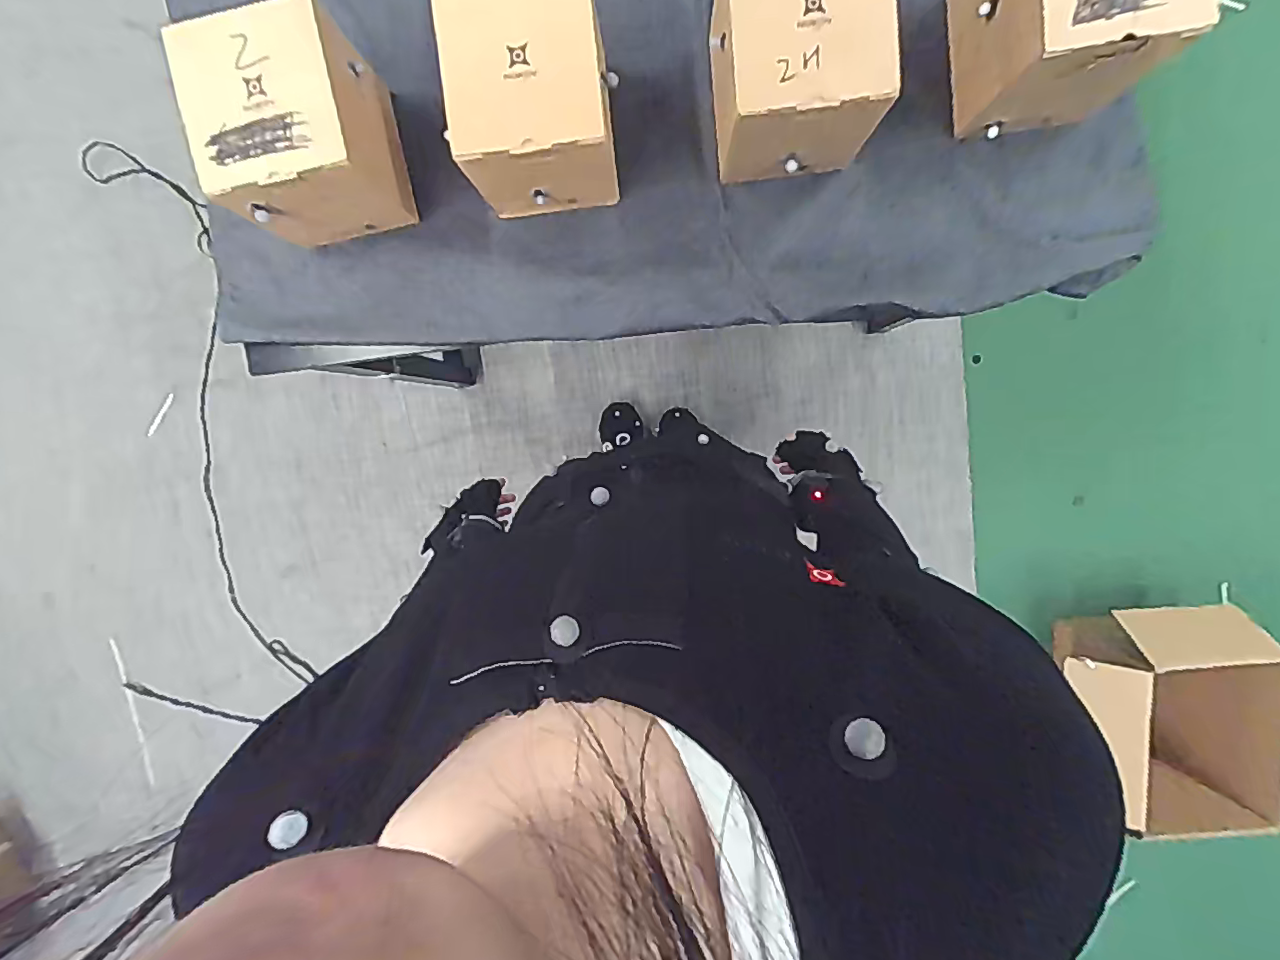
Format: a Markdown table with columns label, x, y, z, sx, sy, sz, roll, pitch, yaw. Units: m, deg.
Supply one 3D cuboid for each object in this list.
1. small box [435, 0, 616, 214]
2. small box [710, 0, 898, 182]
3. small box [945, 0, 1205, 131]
| label | x | y | z | sx | sy | sz | roll | pitch | yaw |
| --- | --- | --- | --- | --- | --- | --- | --- | --- | --- |
| small box | -0.121 | -0.440 | 0.635 | 0.168 | 0.176 | 0.179 | -6 | 97 | 2 |
| small box | 0.175 | -0.476 | 0.622 | 0.168 | 0.176 | 0.179 | -6 | 97 | 3 |
| small box | 0.470 | -0.524 | 0.608 | 0.168 | 0.176 | 0.179 | -7 | 96 | 2 |
